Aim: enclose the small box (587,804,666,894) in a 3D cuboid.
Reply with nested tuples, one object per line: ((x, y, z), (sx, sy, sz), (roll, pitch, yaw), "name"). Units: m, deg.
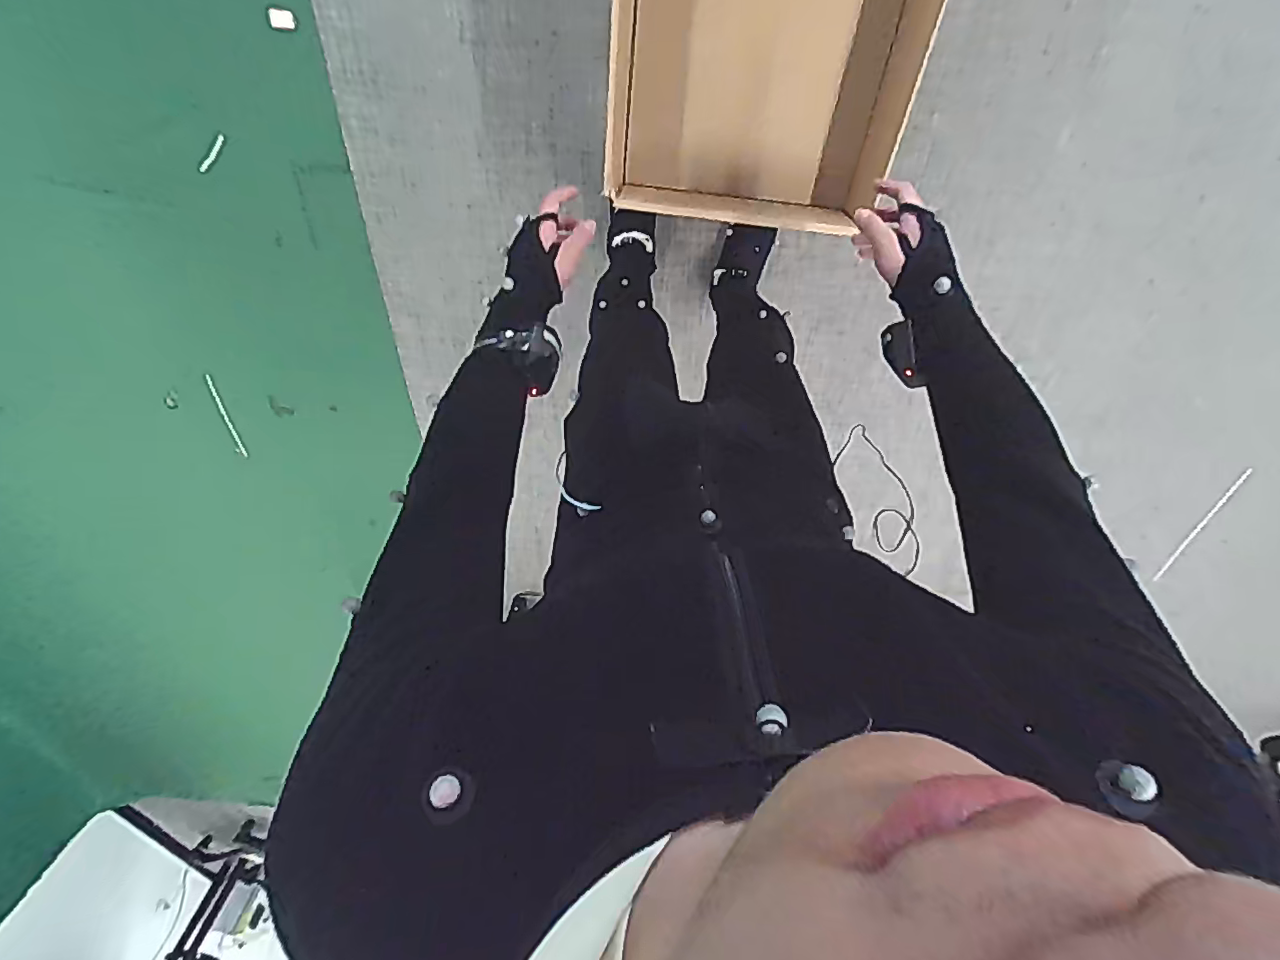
((-0.037, 1.094, 1.608), (0.168, 0.176, 0.179), (31, 124, -17), "small box")
